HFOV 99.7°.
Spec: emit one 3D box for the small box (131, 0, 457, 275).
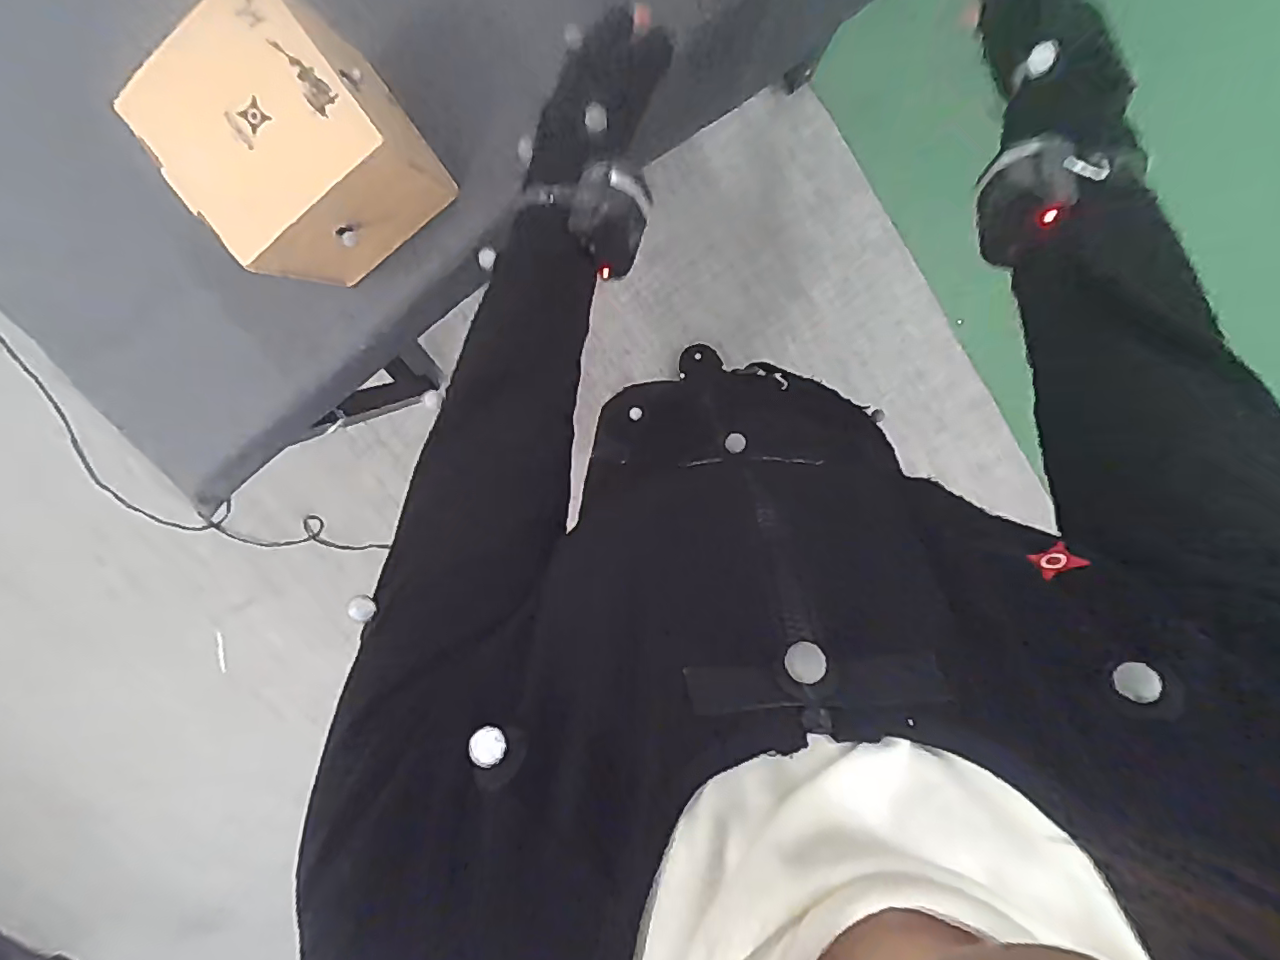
[{"bbox_3d":[-0.320,-0.329,0.539,0.179,0.176,0.168,-33,99,12],"label":"small box"}]
